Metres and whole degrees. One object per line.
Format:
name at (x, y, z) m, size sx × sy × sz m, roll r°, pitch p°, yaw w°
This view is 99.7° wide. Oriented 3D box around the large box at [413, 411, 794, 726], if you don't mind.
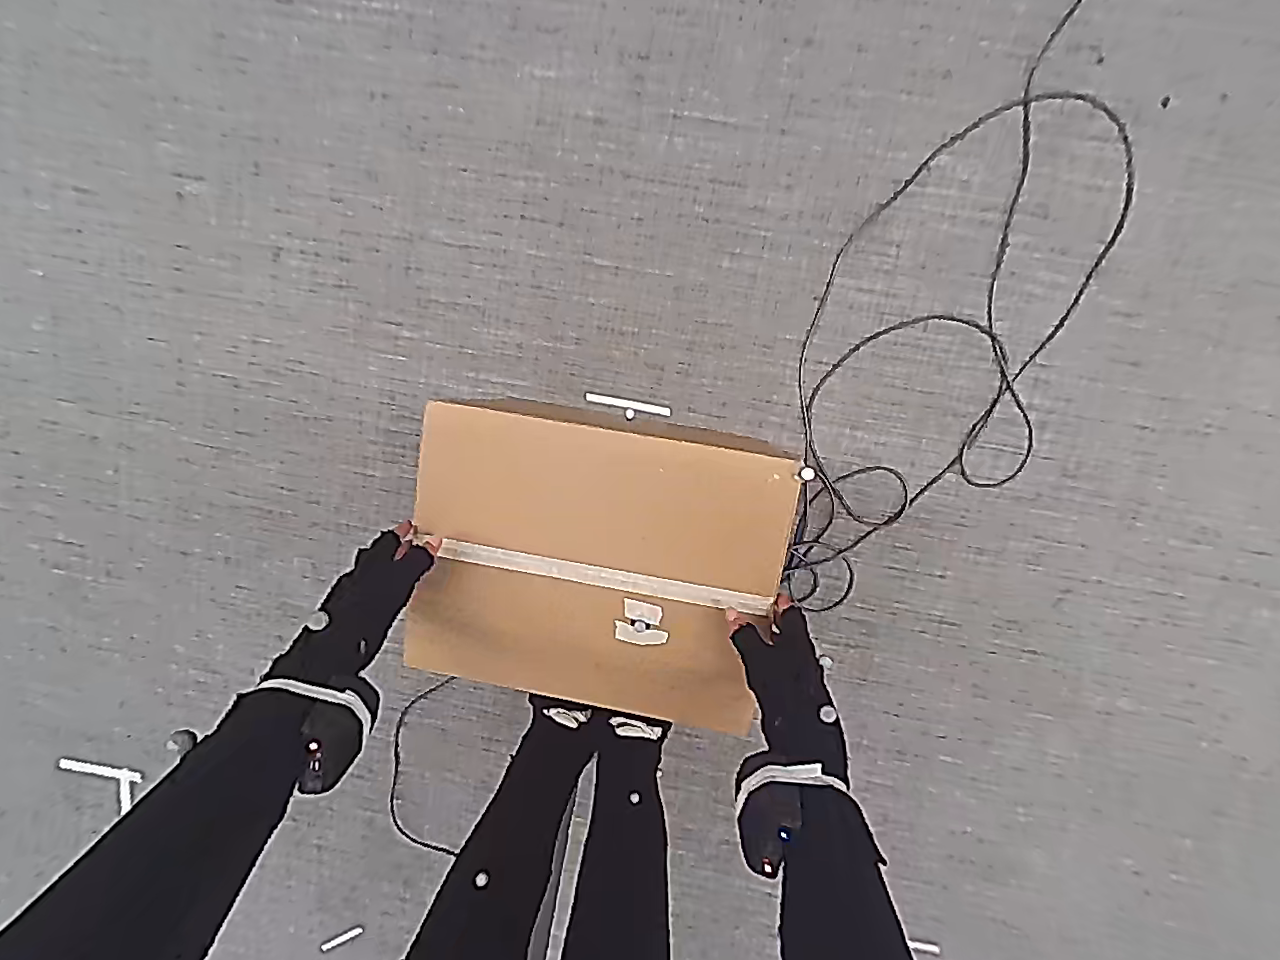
large box at (-0.042, 0.082, 0.750) m, size 0.408 × 0.320 × 0.320 m, roll 10°, pitch 100°, yaw 4°
